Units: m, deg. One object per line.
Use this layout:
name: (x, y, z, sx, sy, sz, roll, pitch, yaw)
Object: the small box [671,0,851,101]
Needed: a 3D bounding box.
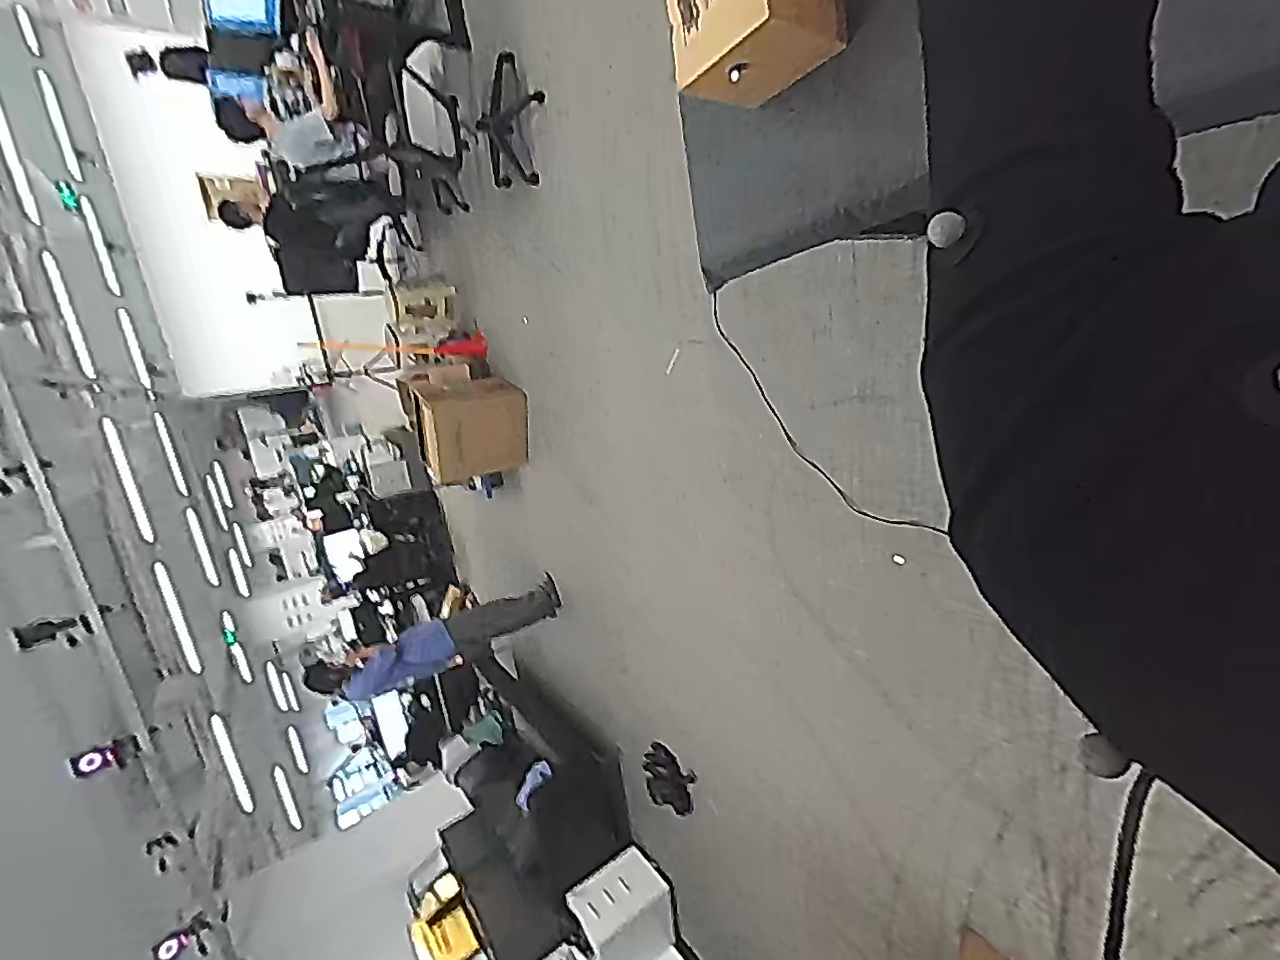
small box: (0.163, -0.661, 0.750, 0.179, 0.176, 0.168, 5, 108, 54)
